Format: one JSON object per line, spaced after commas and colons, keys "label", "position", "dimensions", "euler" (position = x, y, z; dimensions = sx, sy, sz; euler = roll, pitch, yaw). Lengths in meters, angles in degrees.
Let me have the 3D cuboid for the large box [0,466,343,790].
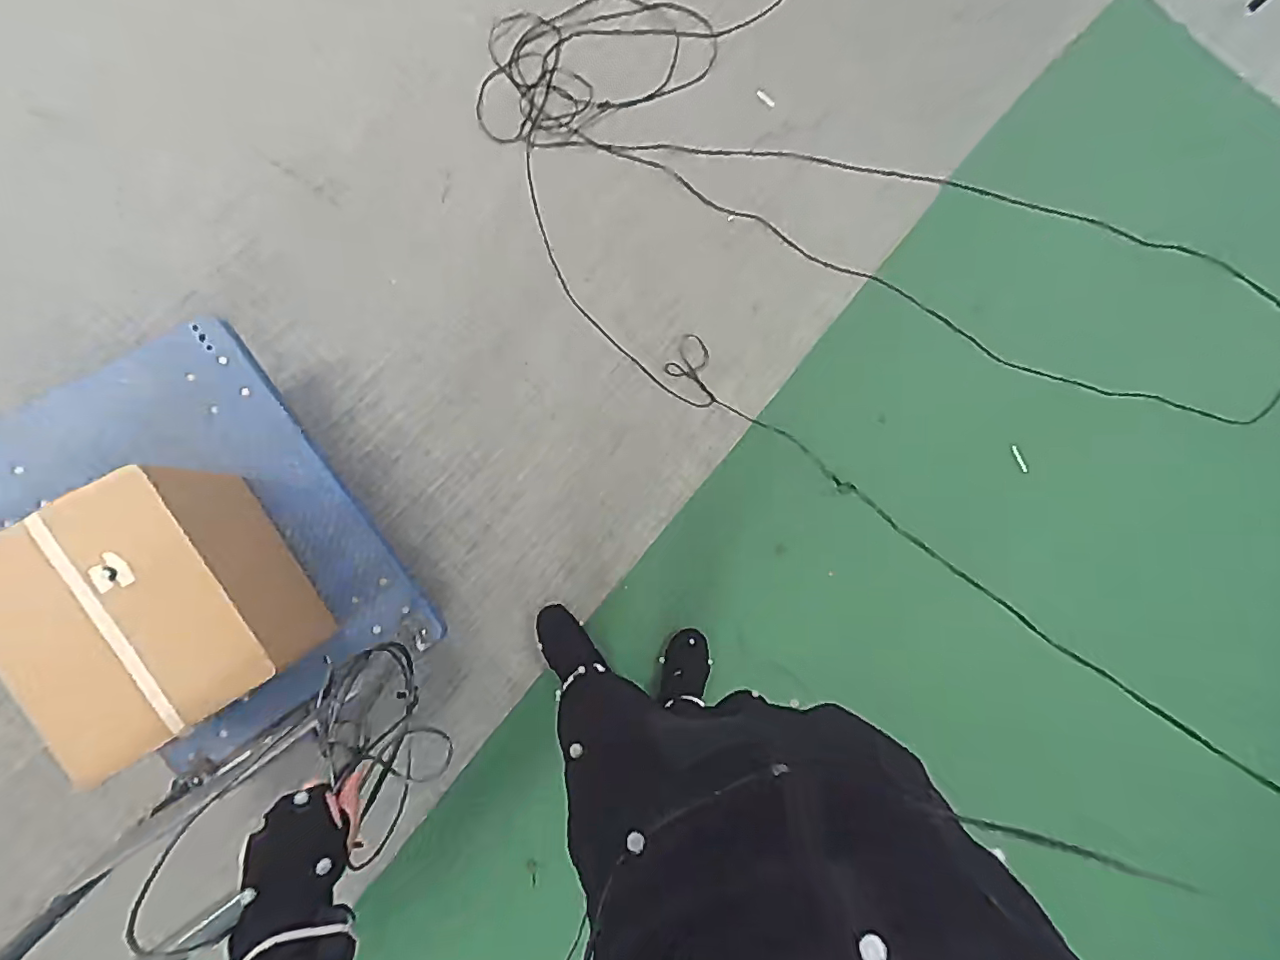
{"label": "large box", "position": [-0.829, 0.230, 0.969], "dimensions": [0.320, 0.320, 0.408], "euler": [-32, 93, -12]}
